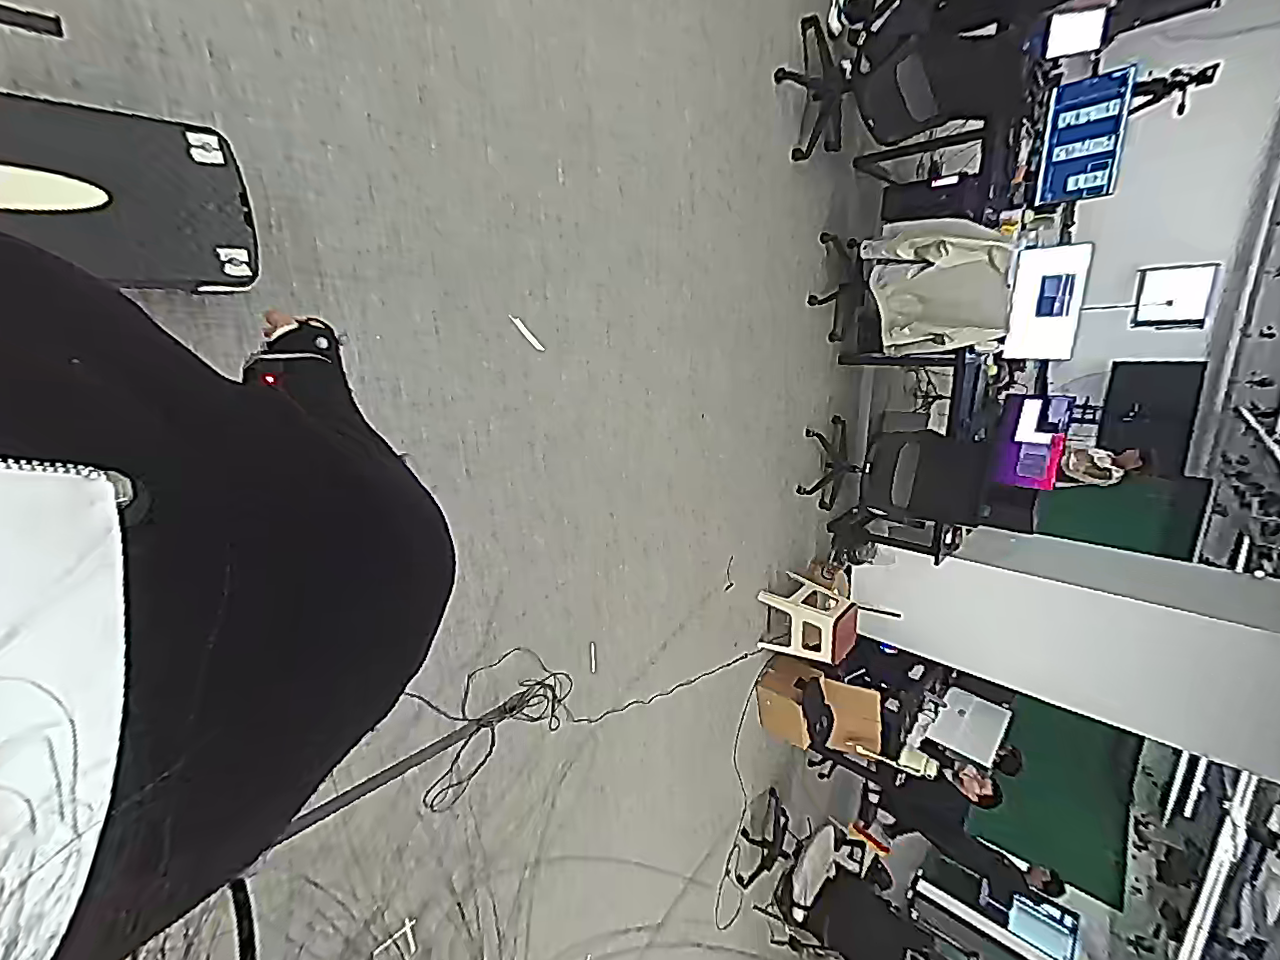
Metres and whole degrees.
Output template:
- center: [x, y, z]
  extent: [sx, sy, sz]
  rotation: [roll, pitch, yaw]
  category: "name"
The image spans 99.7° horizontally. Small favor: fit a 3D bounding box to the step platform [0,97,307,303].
- center: [-0.887, -0.403, 0.759]
  extent: [0.684, 0.204, 0.286]
  rotation: [-20, 113, -44]
  category: "step platform"
